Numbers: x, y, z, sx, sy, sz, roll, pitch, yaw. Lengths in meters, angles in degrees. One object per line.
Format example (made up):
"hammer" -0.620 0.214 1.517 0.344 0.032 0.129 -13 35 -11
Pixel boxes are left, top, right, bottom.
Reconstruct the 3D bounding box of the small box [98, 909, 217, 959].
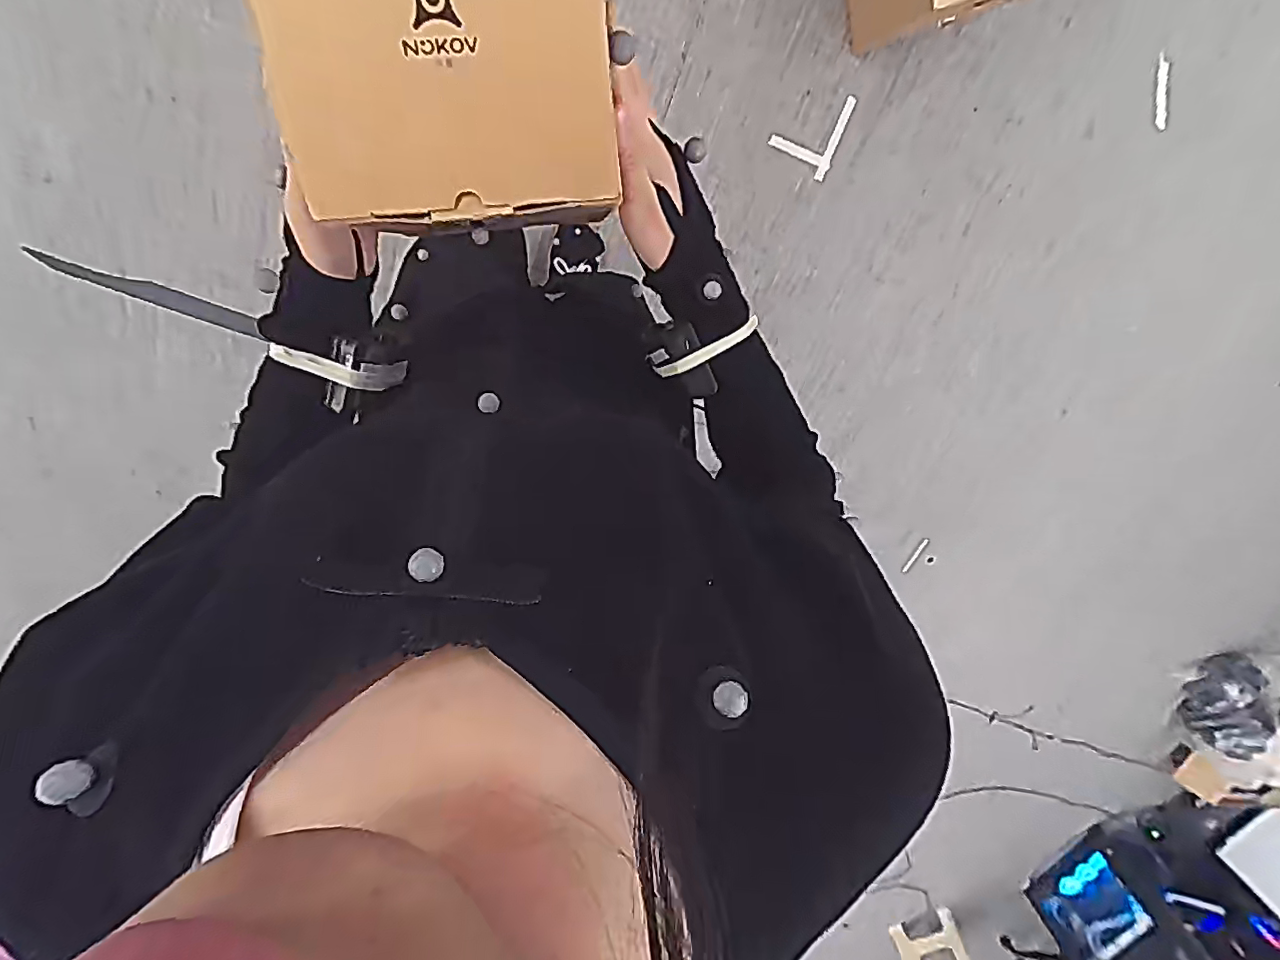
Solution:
"small box" -0.977 0.995 1.068 0.168 0.176 0.179 18 112 -16

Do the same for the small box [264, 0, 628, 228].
"small box" -0.105 -0.259 0.332 0.168 0.176 0.179 -8 115 -5
